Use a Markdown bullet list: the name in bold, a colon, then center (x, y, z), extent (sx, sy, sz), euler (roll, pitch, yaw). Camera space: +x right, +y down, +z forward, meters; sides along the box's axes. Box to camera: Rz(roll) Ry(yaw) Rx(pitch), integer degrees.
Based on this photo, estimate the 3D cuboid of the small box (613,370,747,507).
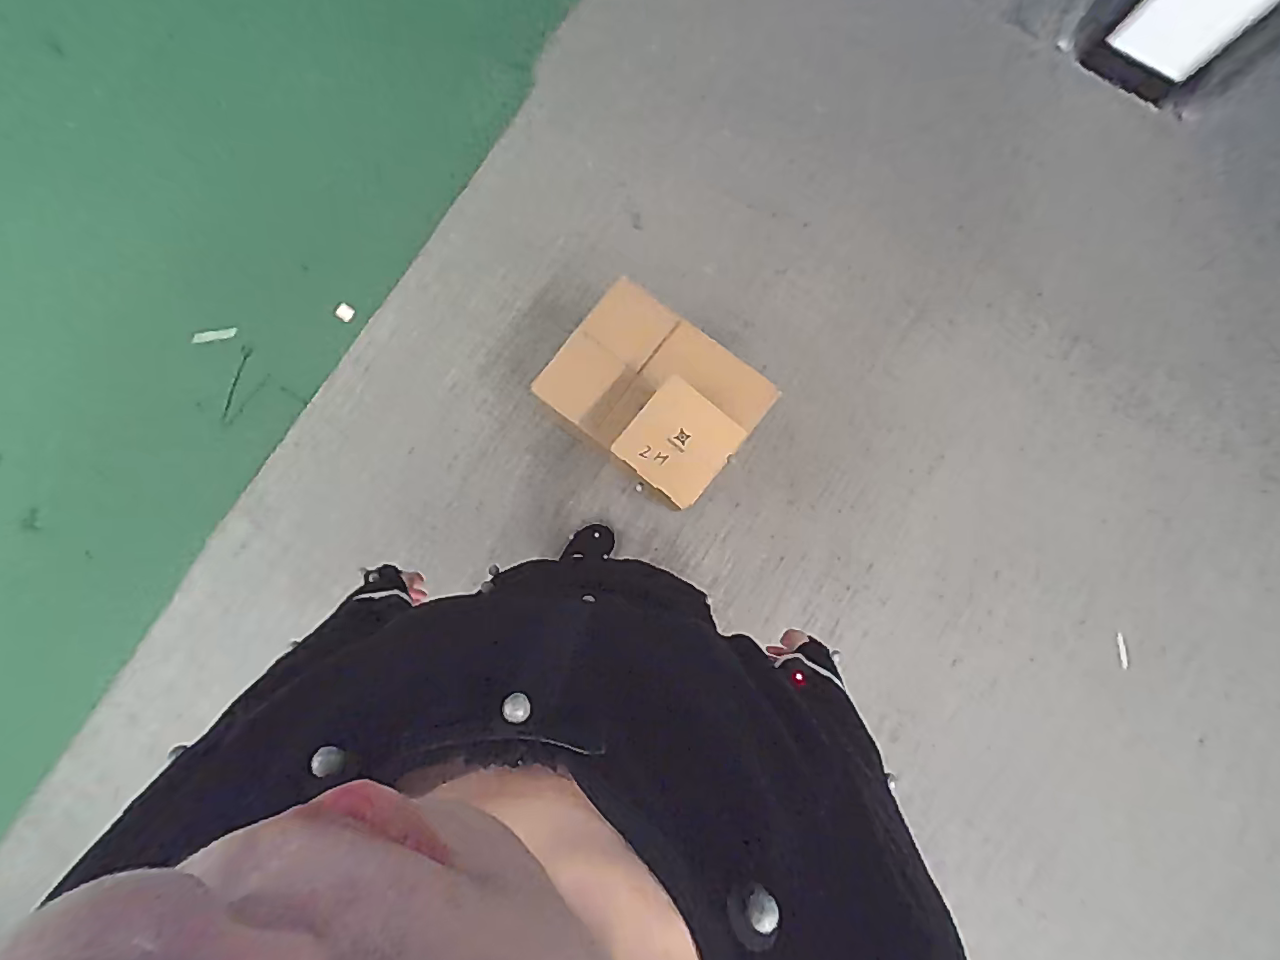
- **small box**: center (0.063, -0.066, 0.990), extent (0.168, 0.176, 0.179), euler (40, 85, 2)
